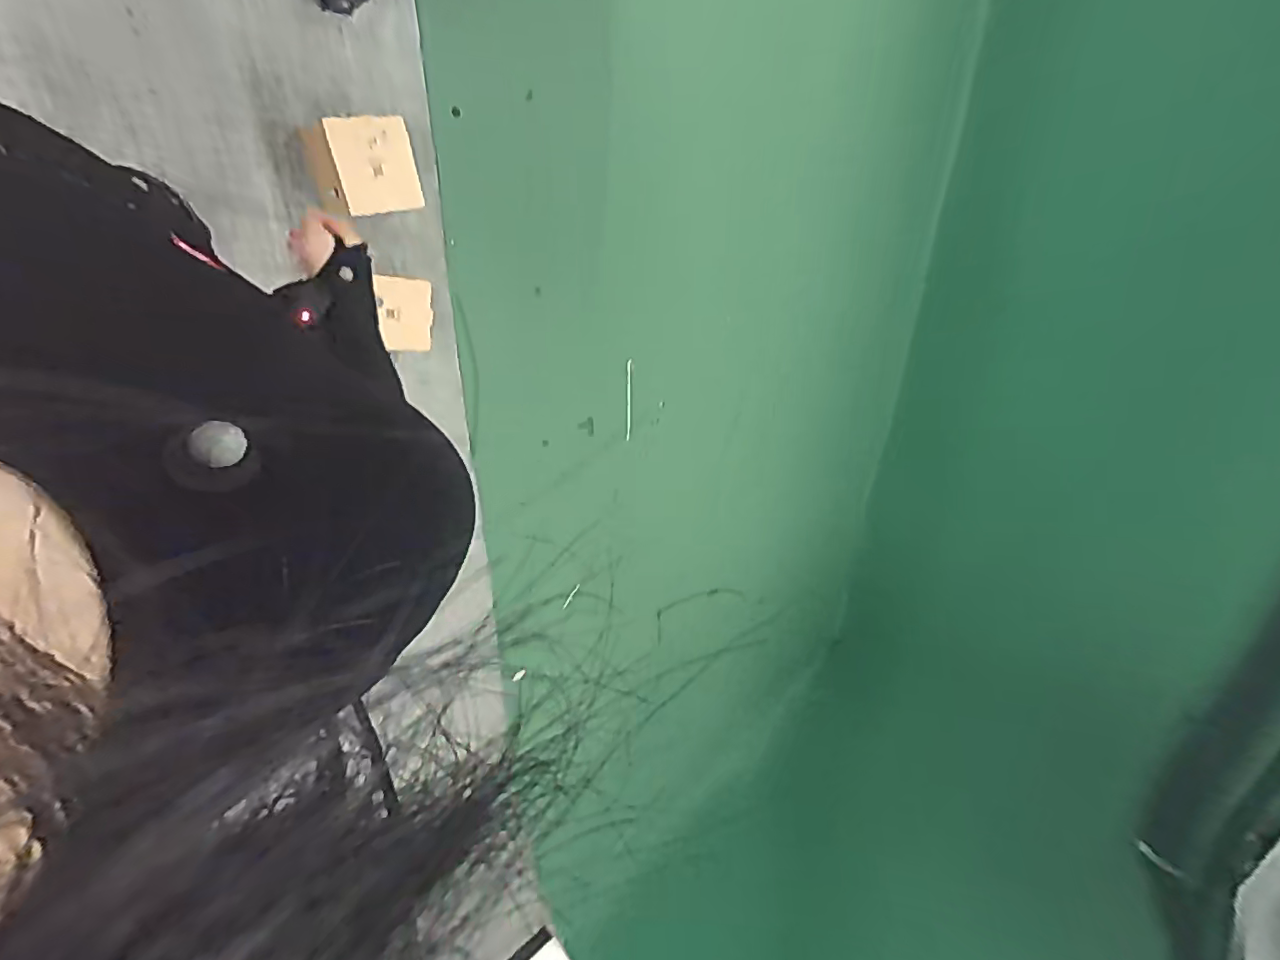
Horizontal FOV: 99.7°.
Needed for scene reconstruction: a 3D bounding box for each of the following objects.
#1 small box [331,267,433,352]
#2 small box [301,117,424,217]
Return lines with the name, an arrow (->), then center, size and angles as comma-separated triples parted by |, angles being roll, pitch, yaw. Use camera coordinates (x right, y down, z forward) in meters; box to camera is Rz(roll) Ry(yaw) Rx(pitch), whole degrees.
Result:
small box -> -0.620, -0.410, 1.297 | 0.179, 0.176, 0.168 | -10, 117, -42
small box -> -0.602, -0.680, 1.177 | 0.168, 0.176, 0.179 | -29, 128, -34
